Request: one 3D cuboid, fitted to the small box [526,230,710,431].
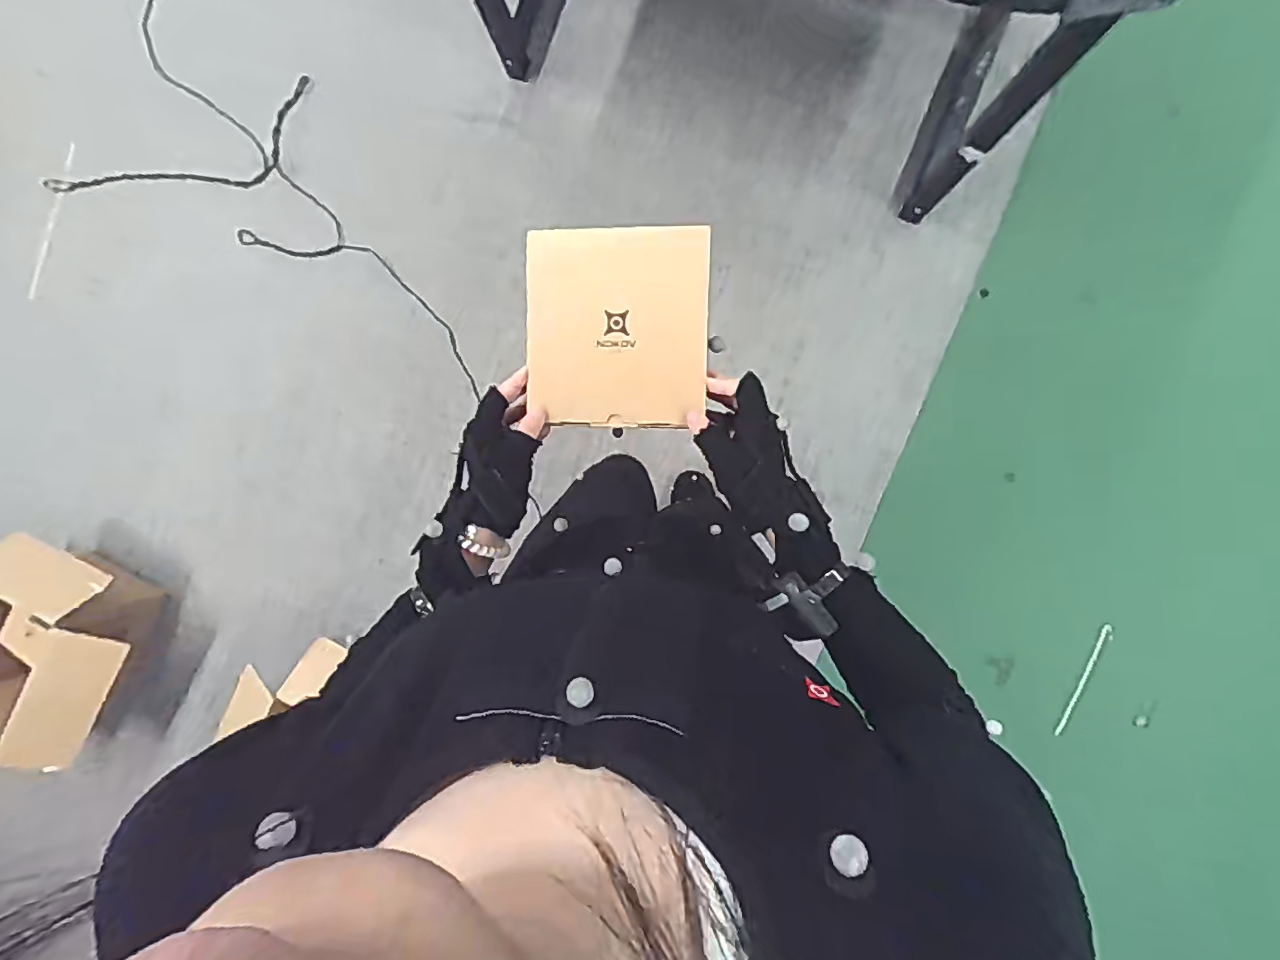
[{"bbox_3d":[-0.015,-0.142,0.565,0.168,0.176,0.179,1,97,6],"label":"small box"}]
